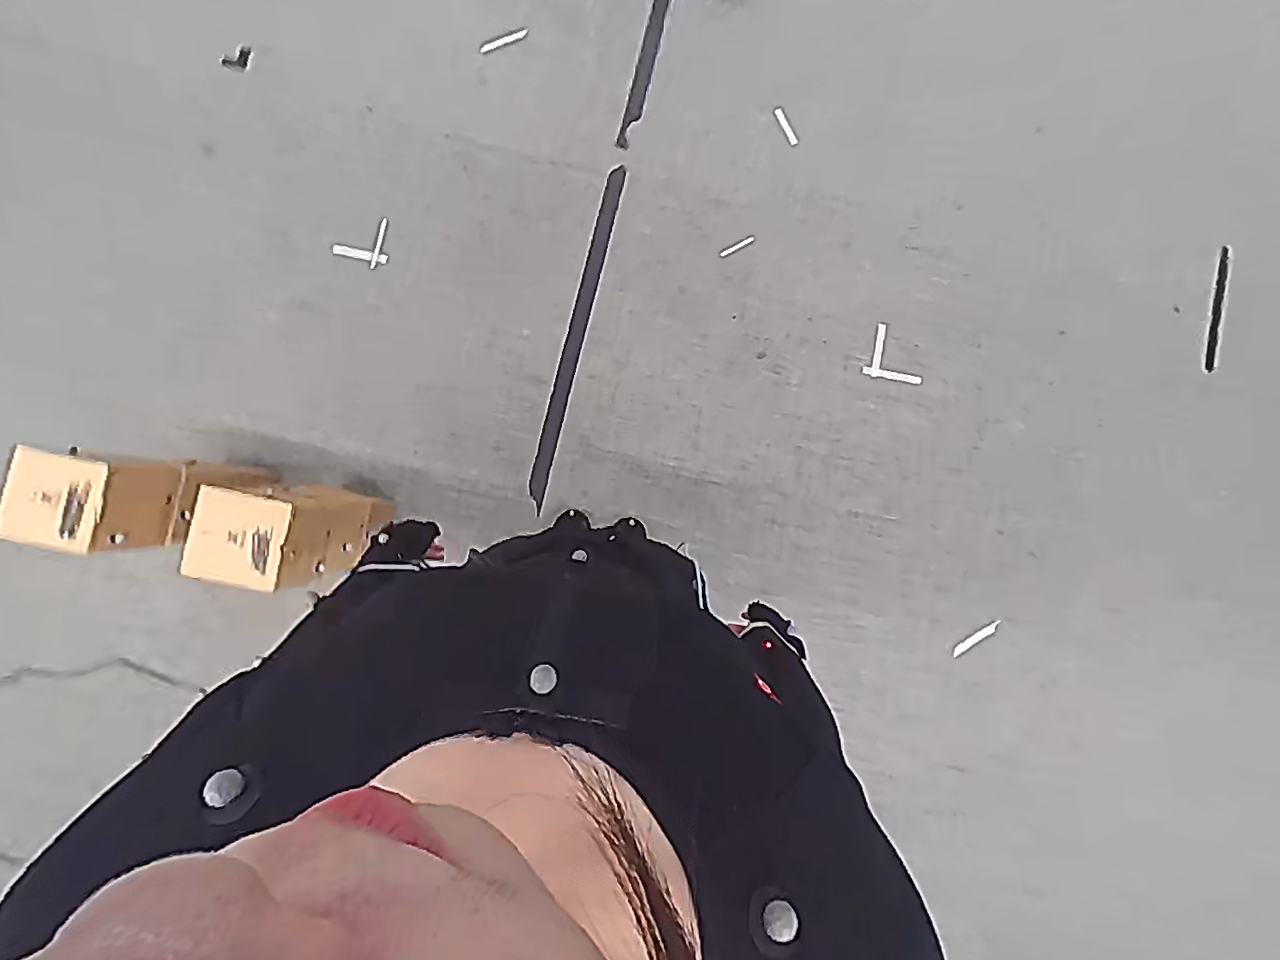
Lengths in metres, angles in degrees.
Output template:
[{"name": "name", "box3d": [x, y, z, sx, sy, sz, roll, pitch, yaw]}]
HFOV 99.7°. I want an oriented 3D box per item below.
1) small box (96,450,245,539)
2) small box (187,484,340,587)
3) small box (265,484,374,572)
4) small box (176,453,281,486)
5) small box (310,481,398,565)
[{"name": "small box", "box3d": [-1.060, 0.034, 1.235, 0.179, 0.176, 0.168, 11, 88, -1]}, {"name": "small box", "box3d": [-0.738, 0.105, 1.083, 0.179, 0.176, 0.168, 12, 87, -1]}, {"name": "small box", "box3d": [-0.745, 0.104, 1.247, 0.179, 0.176, 0.168, 11, 88, -2]}, {"name": "small box", "box3d": [-1.072, 0.038, 1.399, 0.168, 0.176, 0.179, 12, 87, -2]}, {"name": "small box", "box3d": [-0.759, 0.109, 1.409, 0.168, 0.176, 0.179, 15, 86, -2]}]
